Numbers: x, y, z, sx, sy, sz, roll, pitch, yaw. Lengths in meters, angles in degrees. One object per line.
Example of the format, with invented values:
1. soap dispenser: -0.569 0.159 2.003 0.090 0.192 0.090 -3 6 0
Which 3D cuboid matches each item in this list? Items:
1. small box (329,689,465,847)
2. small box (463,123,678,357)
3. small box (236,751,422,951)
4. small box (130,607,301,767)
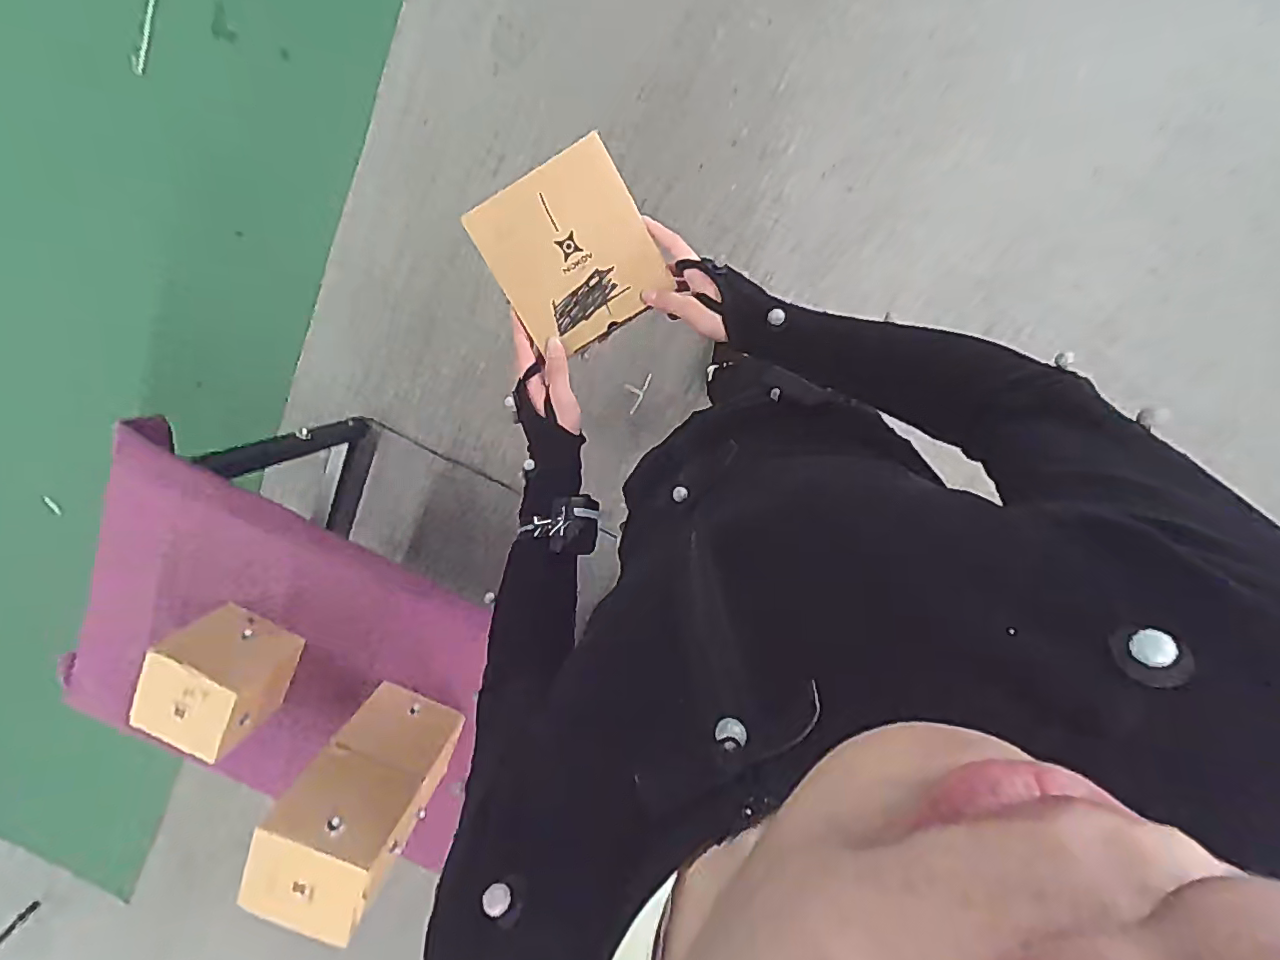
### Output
1. small box: -0.456 0.521 0.999 0.179 0.176 0.168 23 106 0
2. small box: -0.071 -0.263 0.635 0.168 0.176 0.179 -29 103 5
3. small box: -0.471 0.563 0.842 0.179 0.176 0.168 22 105 0
4. small box: -0.768 0.371 0.994 0.168 0.176 0.179 29 106 -2
